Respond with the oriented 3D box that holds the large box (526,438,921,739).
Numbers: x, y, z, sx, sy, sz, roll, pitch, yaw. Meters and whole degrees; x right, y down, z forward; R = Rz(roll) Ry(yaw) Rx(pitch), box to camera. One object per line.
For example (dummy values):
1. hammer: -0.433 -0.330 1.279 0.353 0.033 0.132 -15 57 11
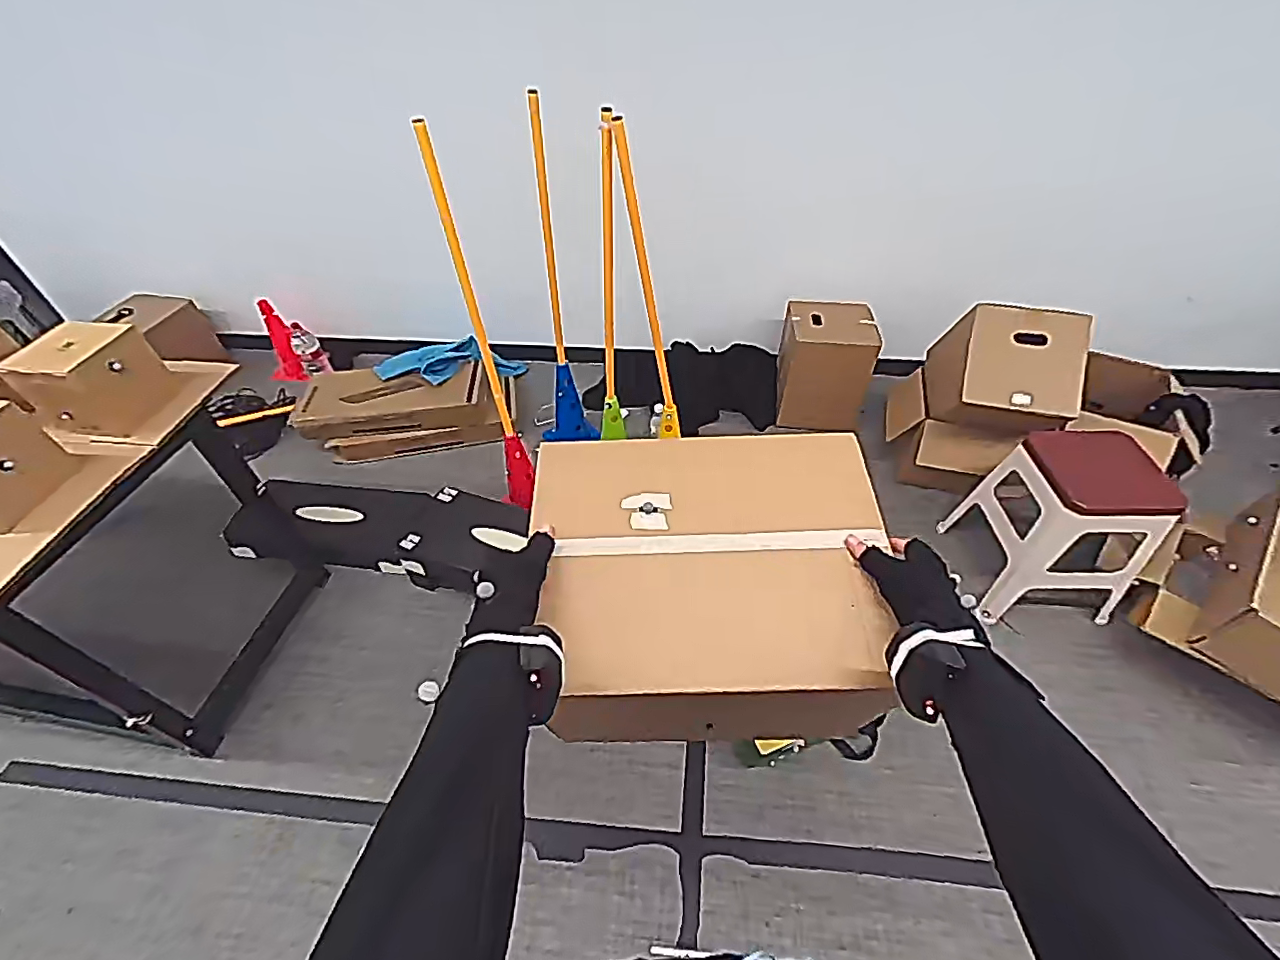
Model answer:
1. large box: 0.087 0.163 0.744 0.408 0.320 0.320 -2 55 2
